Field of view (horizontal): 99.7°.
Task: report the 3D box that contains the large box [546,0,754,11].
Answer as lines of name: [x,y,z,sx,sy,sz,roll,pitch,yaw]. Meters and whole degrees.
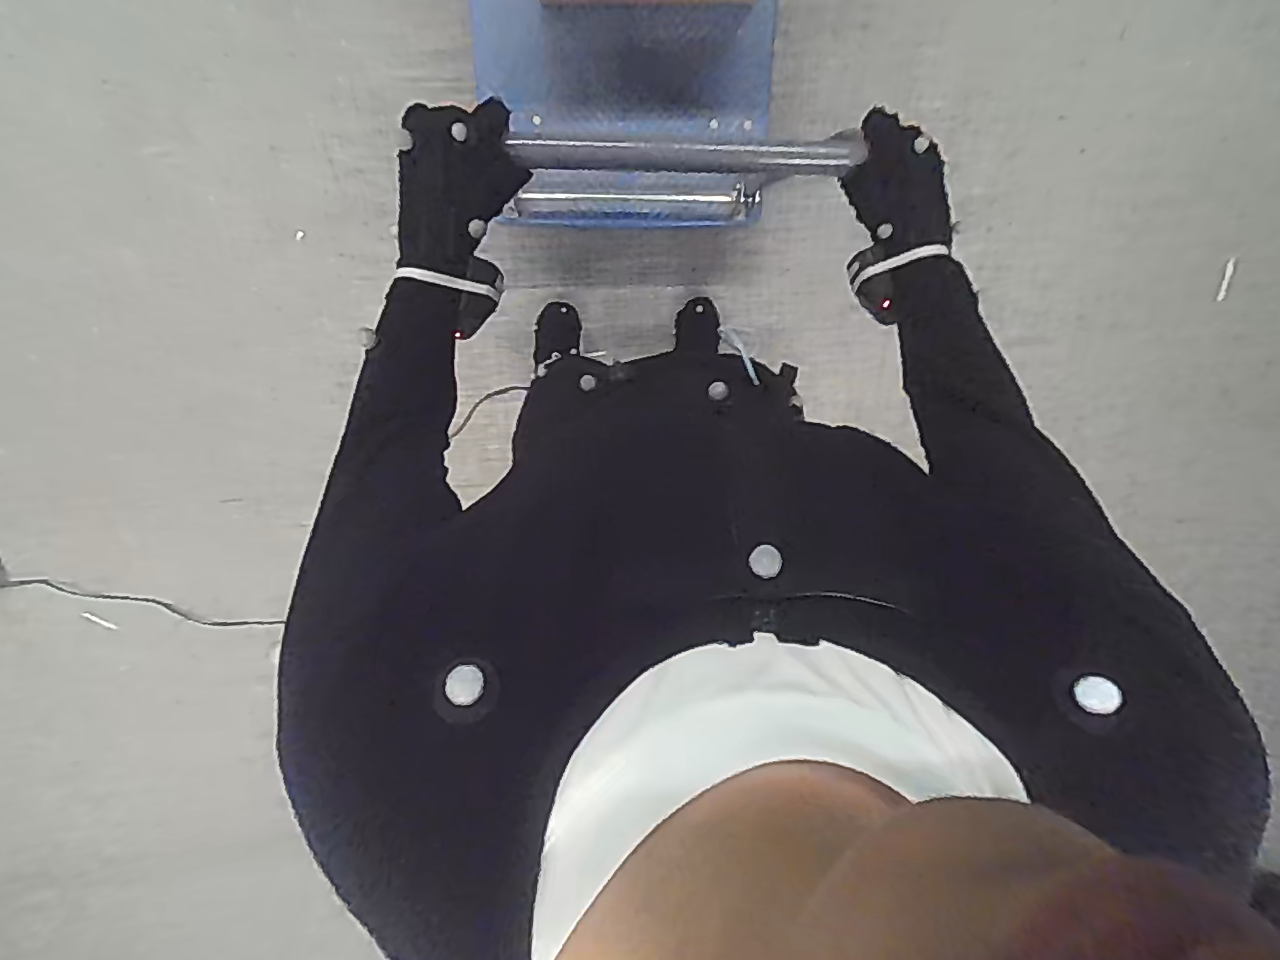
large box: [0.027,-0.984,0.832,0.408,0.320,0.320,-3,109,-3]
